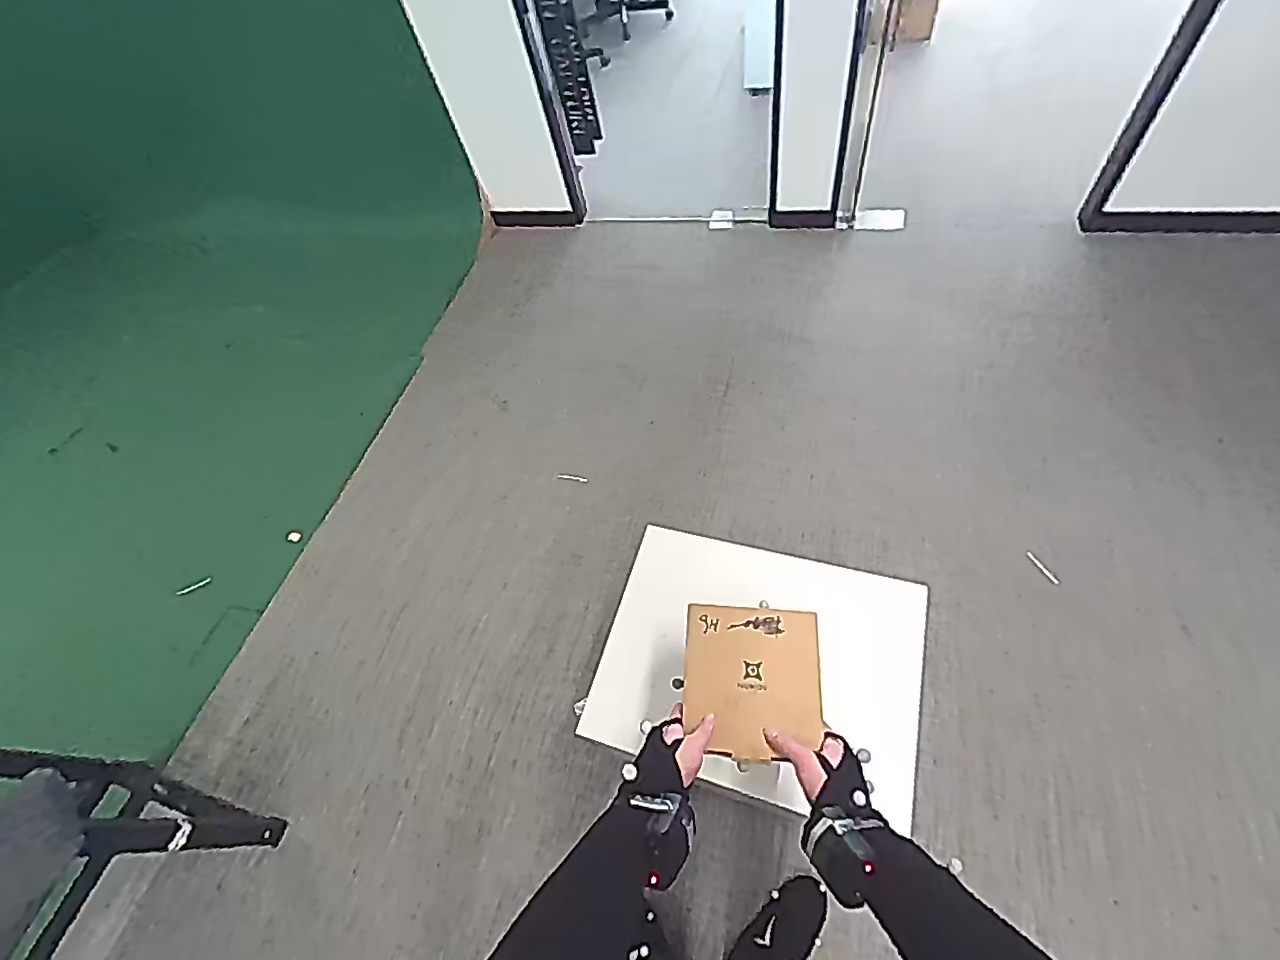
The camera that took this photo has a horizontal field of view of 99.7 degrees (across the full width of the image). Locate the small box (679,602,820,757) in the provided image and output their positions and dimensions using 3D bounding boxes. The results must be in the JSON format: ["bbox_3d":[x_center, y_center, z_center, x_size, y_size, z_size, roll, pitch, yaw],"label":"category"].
[{"bbox_3d":[0.140,0.274,0.736,0.168,0.176,0.179,1,63,6],"label":"small box"}]
